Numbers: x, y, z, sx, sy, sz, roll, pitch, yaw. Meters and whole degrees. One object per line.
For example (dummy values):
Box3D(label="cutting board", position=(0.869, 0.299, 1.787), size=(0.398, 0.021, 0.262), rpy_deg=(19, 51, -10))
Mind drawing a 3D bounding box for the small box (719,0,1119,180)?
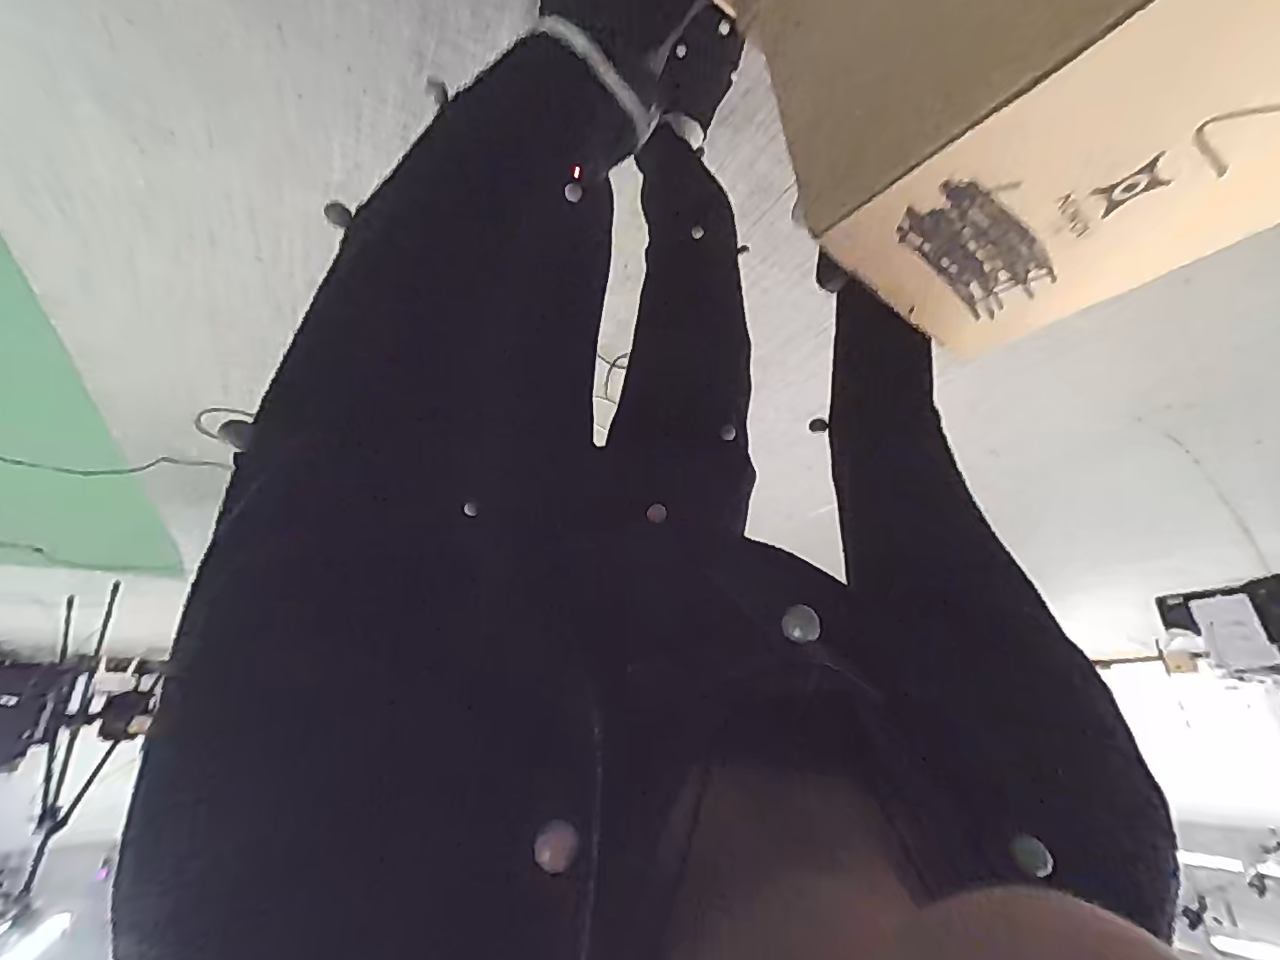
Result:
Box3D(label="small box", position=(0.154, -0.331, 0.314), size=(0.179, 0.176, 0.168), rpy_deg=(11, 156, -32))
